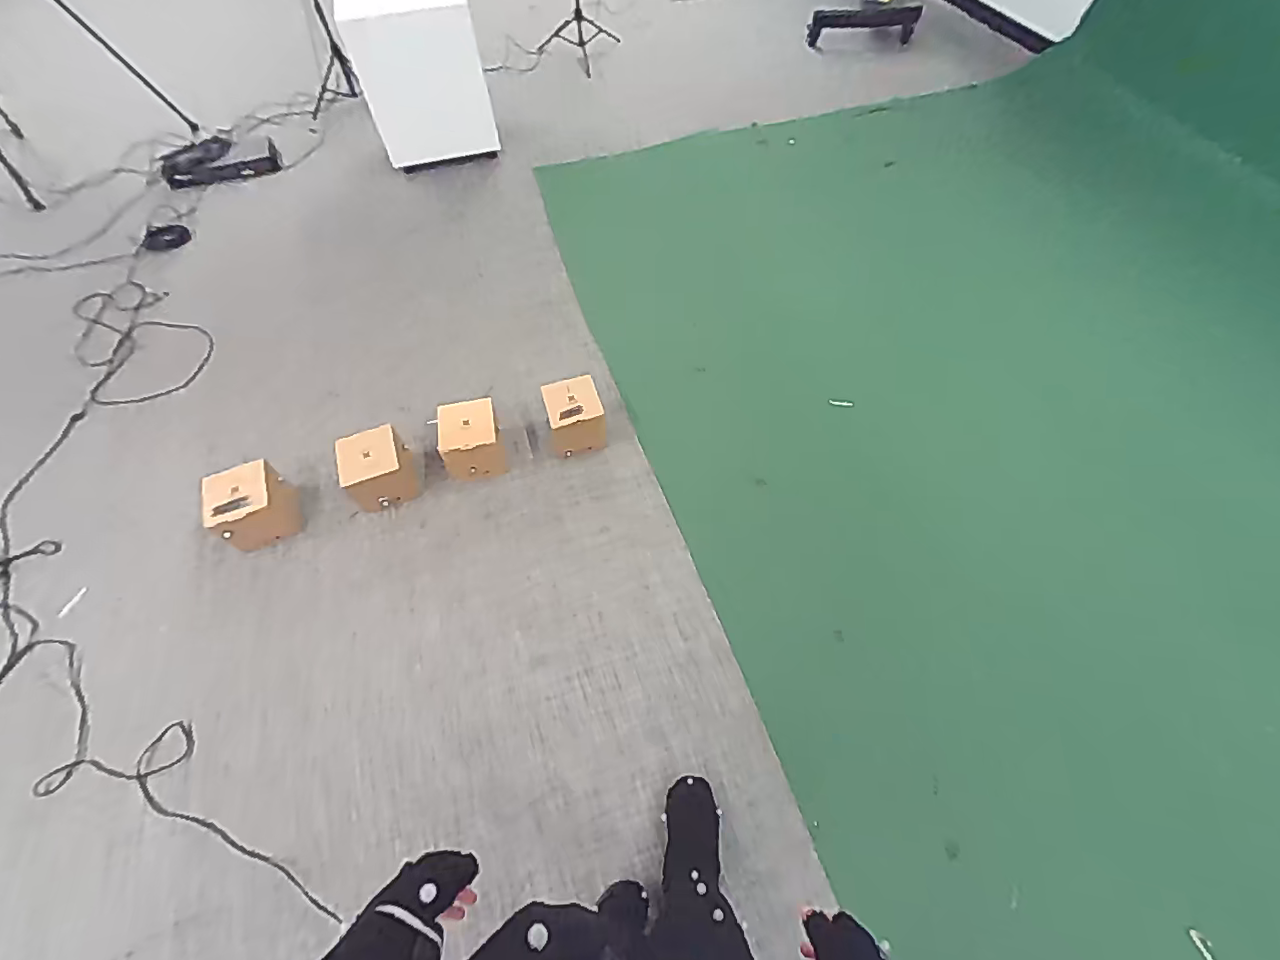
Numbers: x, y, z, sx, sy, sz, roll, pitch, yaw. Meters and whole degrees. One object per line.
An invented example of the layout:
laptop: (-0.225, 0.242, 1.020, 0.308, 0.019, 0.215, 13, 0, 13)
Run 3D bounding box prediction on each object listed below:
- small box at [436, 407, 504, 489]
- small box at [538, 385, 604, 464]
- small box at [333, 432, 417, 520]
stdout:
small box: (-0.523, -0.096, 1.672, 0.168, 0.176, 0.179, -11, 59, -7)
small box: (-0.216, -0.168, 1.717, 0.168, 0.176, 0.179, -15, 58, -9)
small box: (-0.789, -0.008, 1.616, 0.168, 0.176, 0.179, -20, 62, -10)
